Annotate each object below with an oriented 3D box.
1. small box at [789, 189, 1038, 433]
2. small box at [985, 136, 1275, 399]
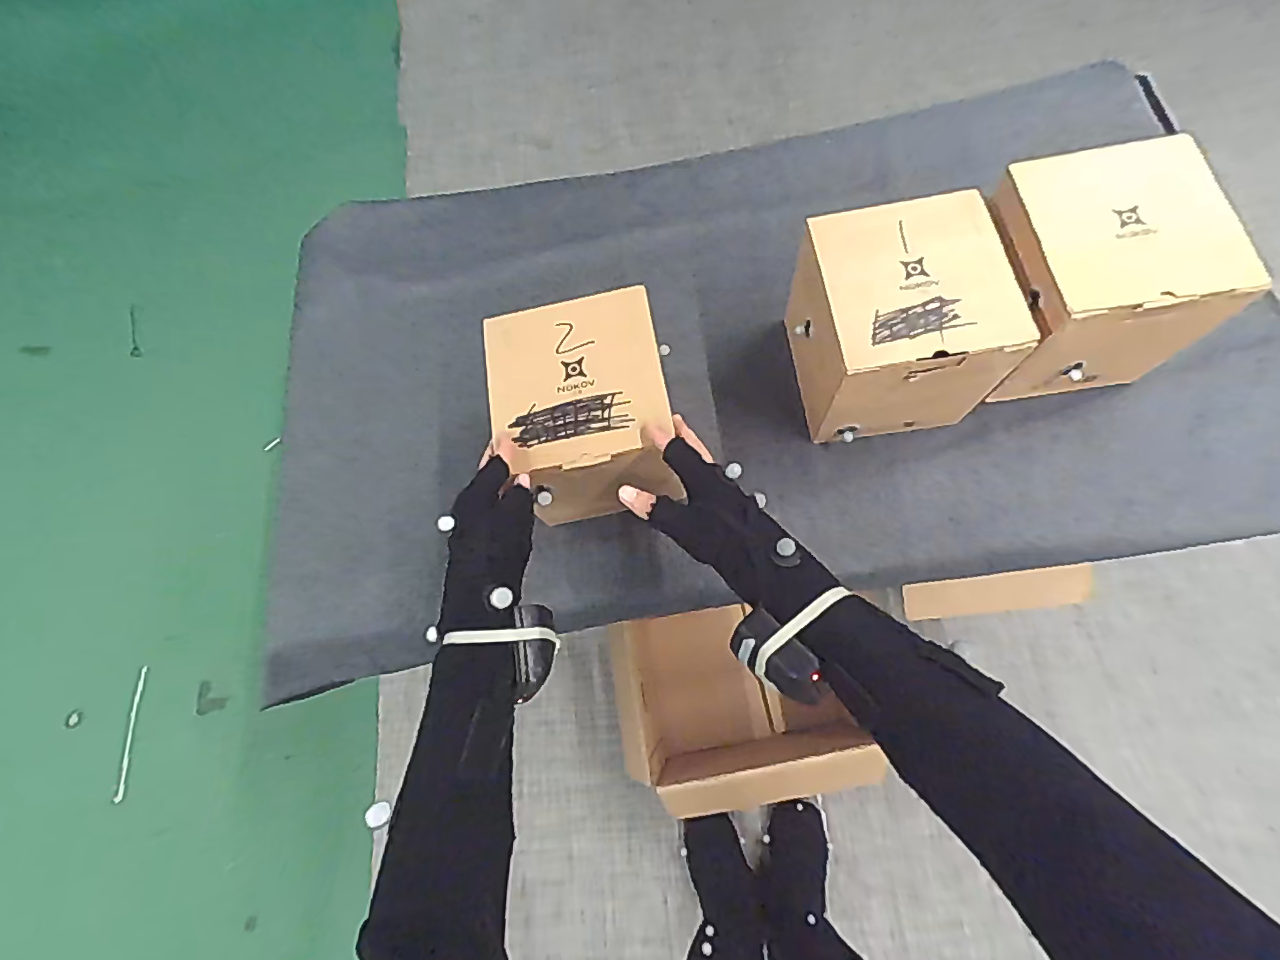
[{"bbox_3d":[0.262,-0.160,0.568,0.168,0.176,0.179,-7,70,4],"label":"small box"},{"bbox_3d":[0.453,-0.207,0.561,0.168,0.176,0.179,-8,72,5],"label":"small box"}]
